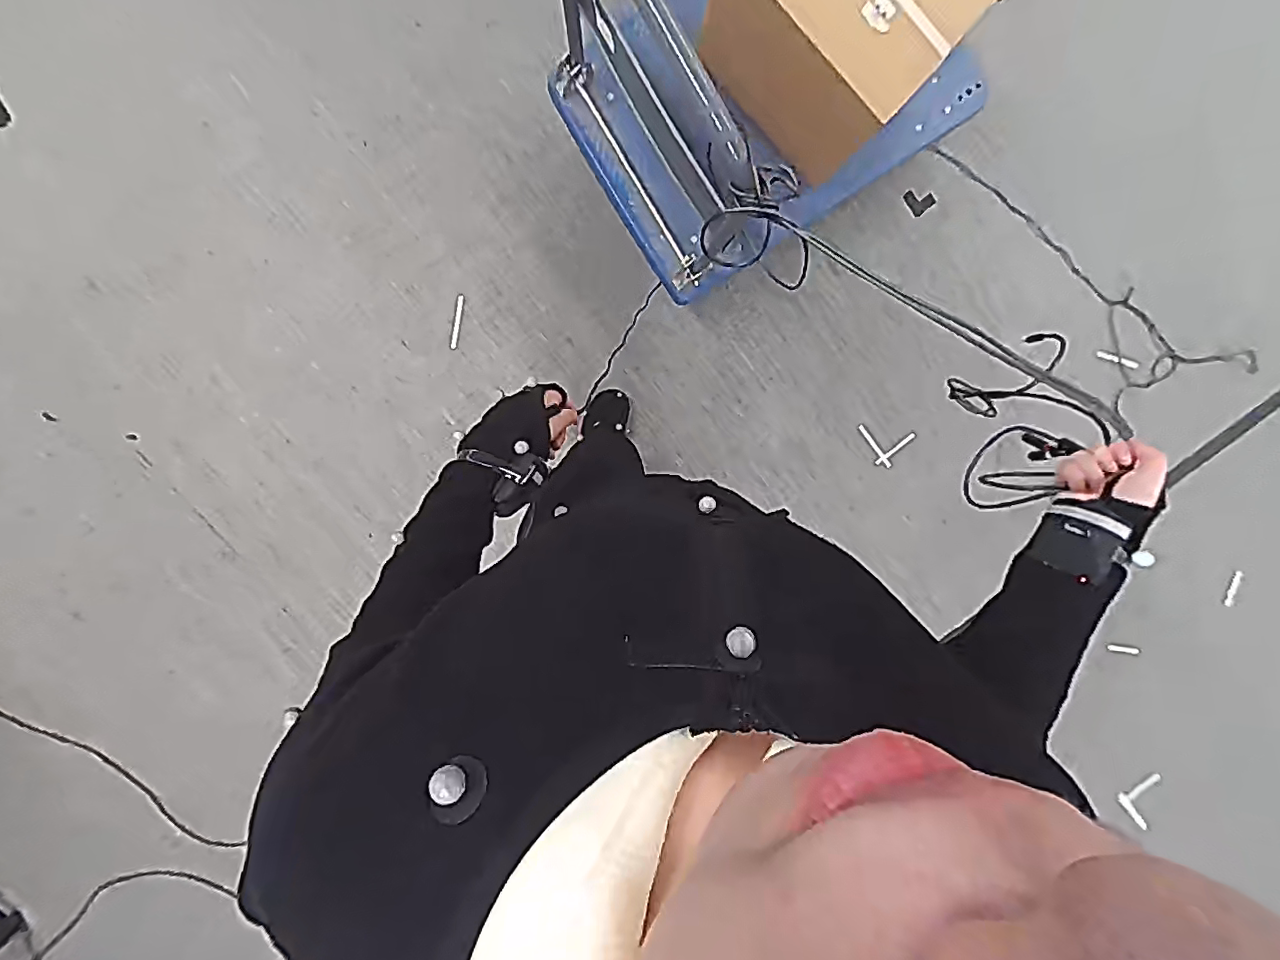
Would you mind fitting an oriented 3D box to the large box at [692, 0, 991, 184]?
[{"bbox_3d":[0.369,-0.898,1.066,0.408,0.320,0.320,42,94,-10],"label":"large box"}]
